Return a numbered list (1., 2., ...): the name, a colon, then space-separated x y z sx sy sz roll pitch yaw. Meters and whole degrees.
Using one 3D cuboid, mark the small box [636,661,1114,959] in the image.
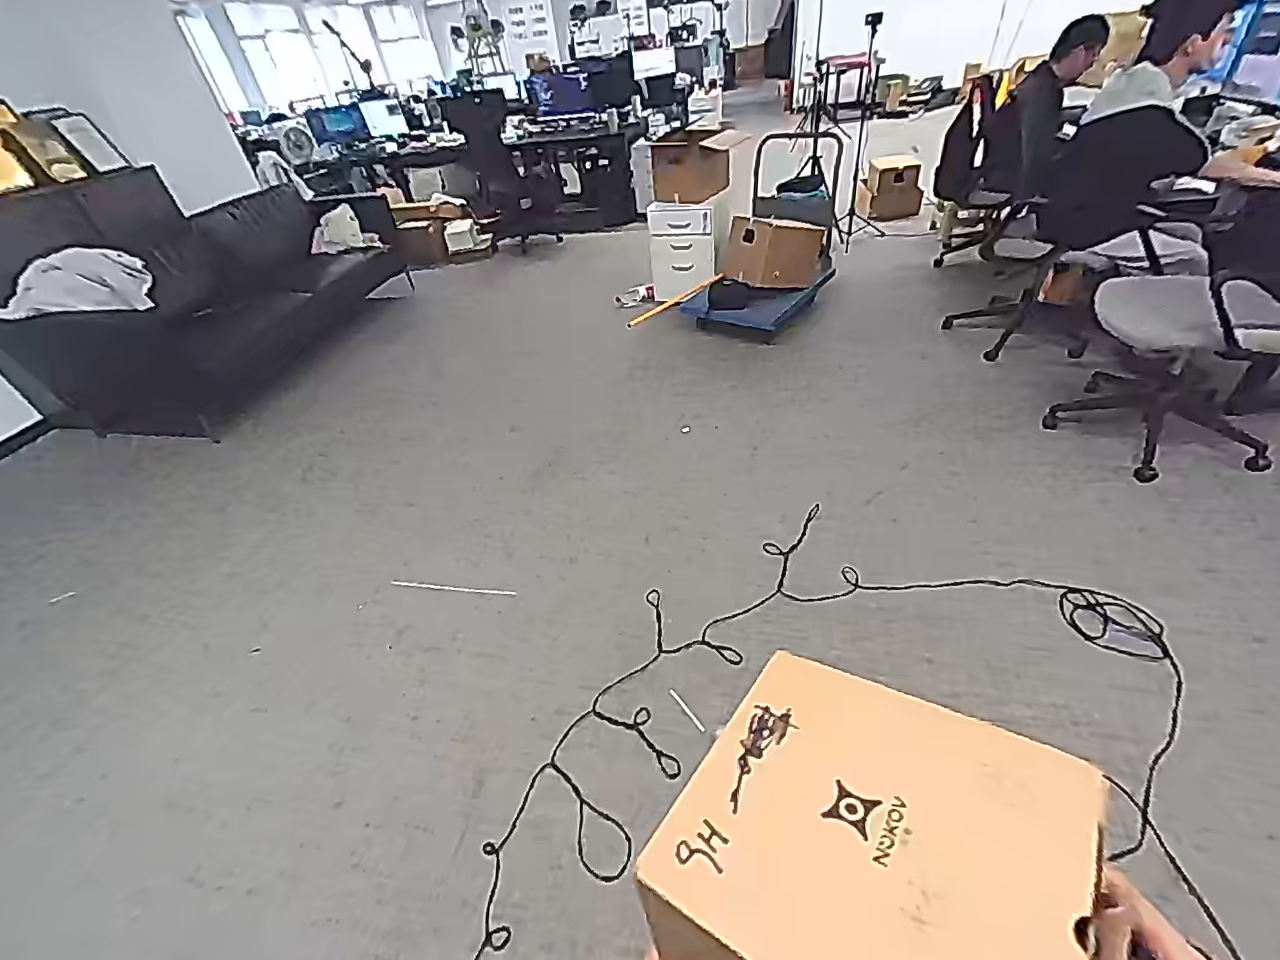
1. small box: 0.126 0.244 0.300 0.179 0.176 0.168 12 34 39
